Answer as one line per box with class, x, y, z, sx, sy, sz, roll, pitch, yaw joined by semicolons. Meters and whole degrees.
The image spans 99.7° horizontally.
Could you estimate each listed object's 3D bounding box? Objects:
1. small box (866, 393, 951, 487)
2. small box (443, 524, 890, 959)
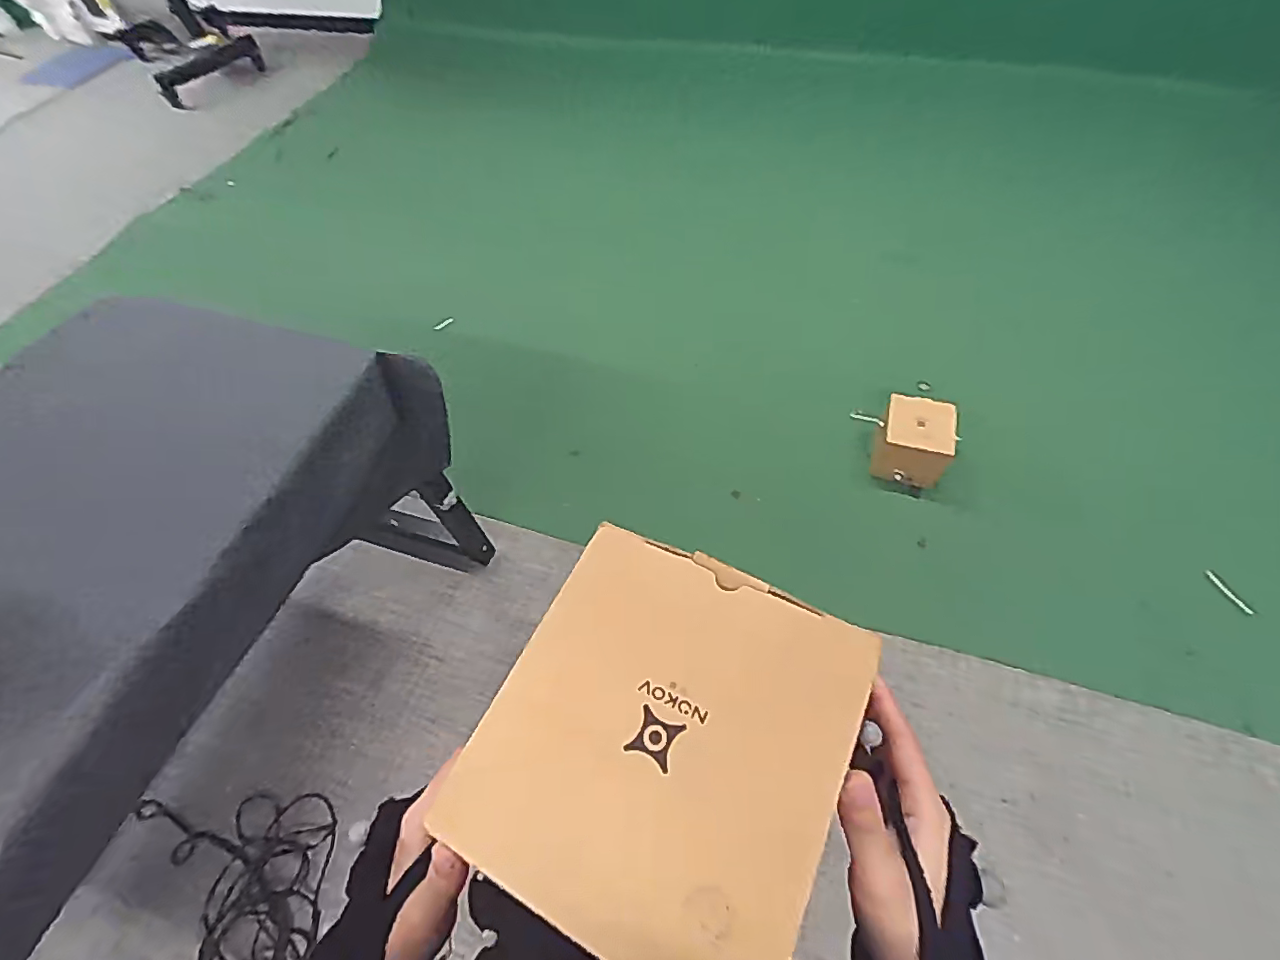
small box;0.740;-0.110;1.498;0.168;0.176;0.179;13;60;13
small box;0.026;0.162;0.328;0.168;0.176;0.179;21;63;20
